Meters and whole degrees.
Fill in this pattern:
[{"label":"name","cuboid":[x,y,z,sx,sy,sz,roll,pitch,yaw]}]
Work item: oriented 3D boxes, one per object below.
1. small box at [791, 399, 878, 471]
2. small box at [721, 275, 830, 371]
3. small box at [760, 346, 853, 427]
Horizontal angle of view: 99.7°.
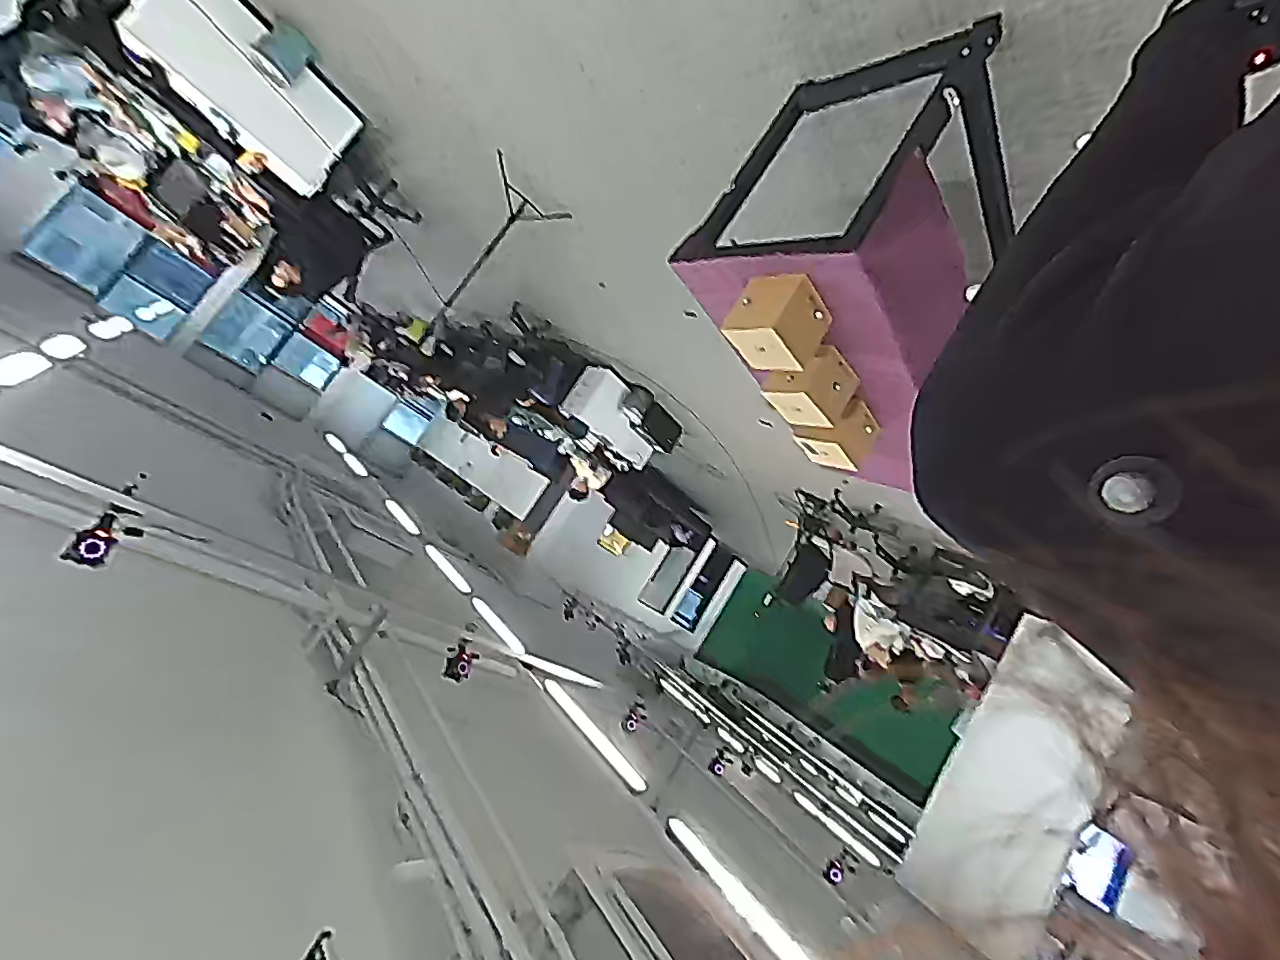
[{"label":"small box","cuboid":[0.632,-0.156,1.749,0.168,0.176,0.179,39,169,-37]},{"label":"small box","cuboid":[0.347,-0.402,1.380,0.168,0.176,0.179,38,171,-37]},{"label":"small box","cuboid":[0.491,-0.276,1.574,0.168,0.176,0.179,38,170,-32]}]
